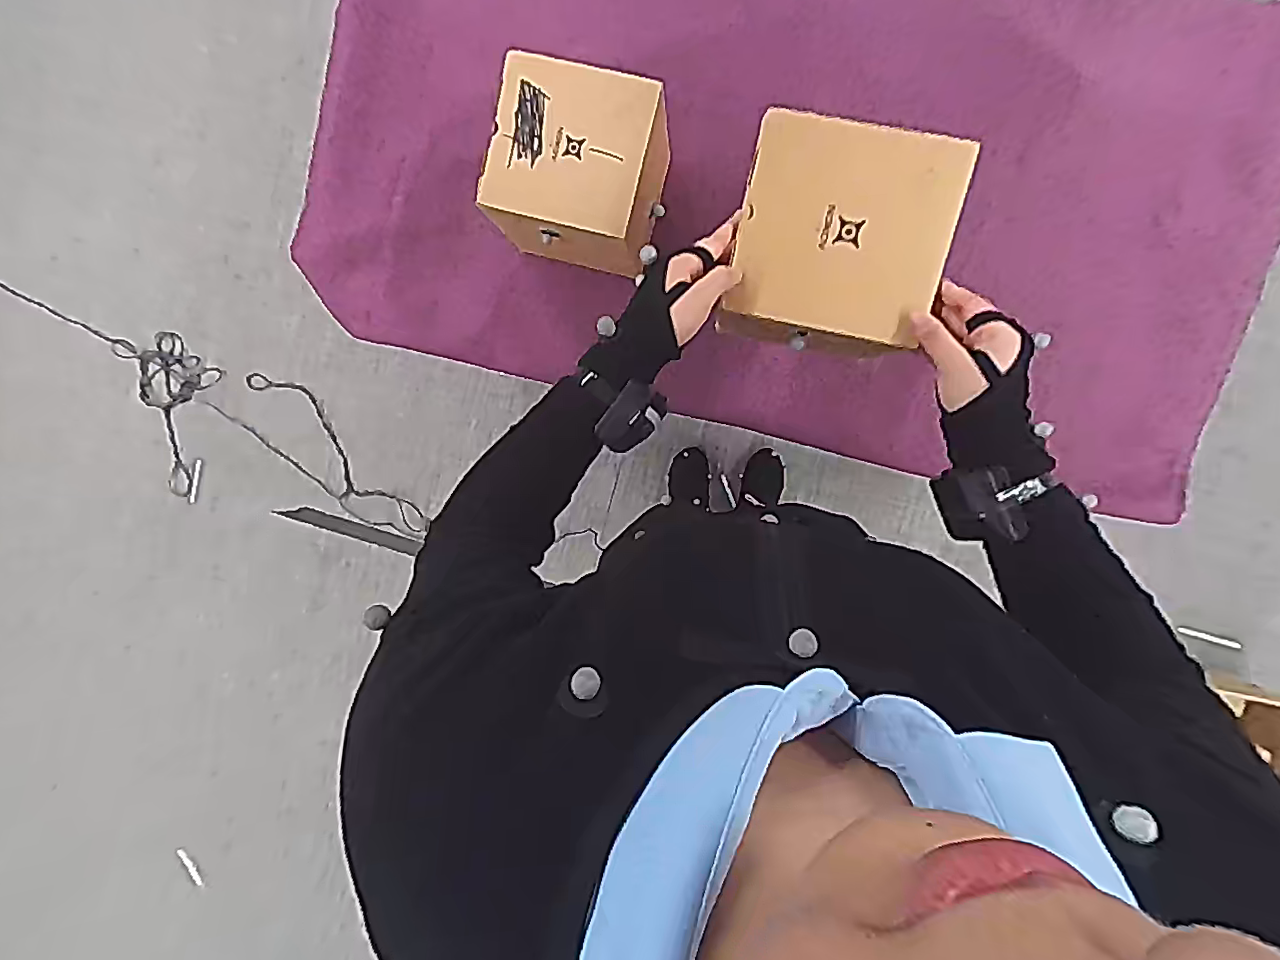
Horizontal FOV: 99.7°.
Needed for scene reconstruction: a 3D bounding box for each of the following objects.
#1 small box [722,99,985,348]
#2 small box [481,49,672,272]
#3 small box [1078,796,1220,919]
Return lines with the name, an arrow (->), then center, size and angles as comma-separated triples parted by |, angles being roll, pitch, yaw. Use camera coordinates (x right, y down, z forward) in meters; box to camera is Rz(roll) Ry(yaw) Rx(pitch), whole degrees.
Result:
small box -> 0.185, -0.229, 0.529 | 0.179, 0.176, 0.168 | 14, 101, 6
small box -> -0.066, -0.373, 0.664 | 0.179, 0.176, 0.168 | 15, 98, 4
small box -> 1.245, 0.923, 1.340 | 0.179, 0.176, 0.168 | 12, 97, 4
